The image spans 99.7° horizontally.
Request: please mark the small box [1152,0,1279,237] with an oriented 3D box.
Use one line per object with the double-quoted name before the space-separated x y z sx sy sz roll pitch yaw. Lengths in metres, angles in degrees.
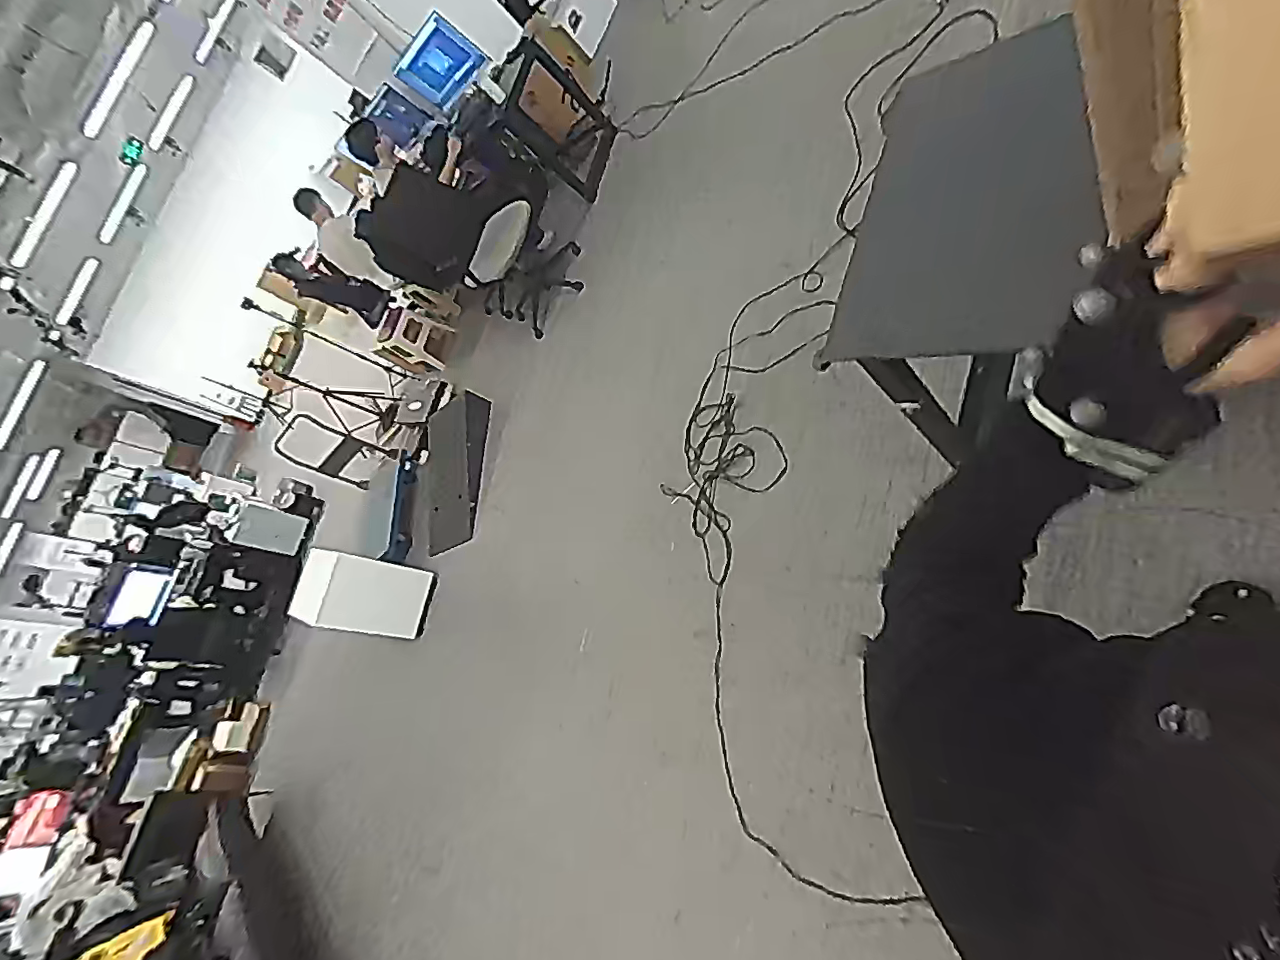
"small box" 0.268 -0.175 0.135 0.168 0.176 0.179 3 100 60
